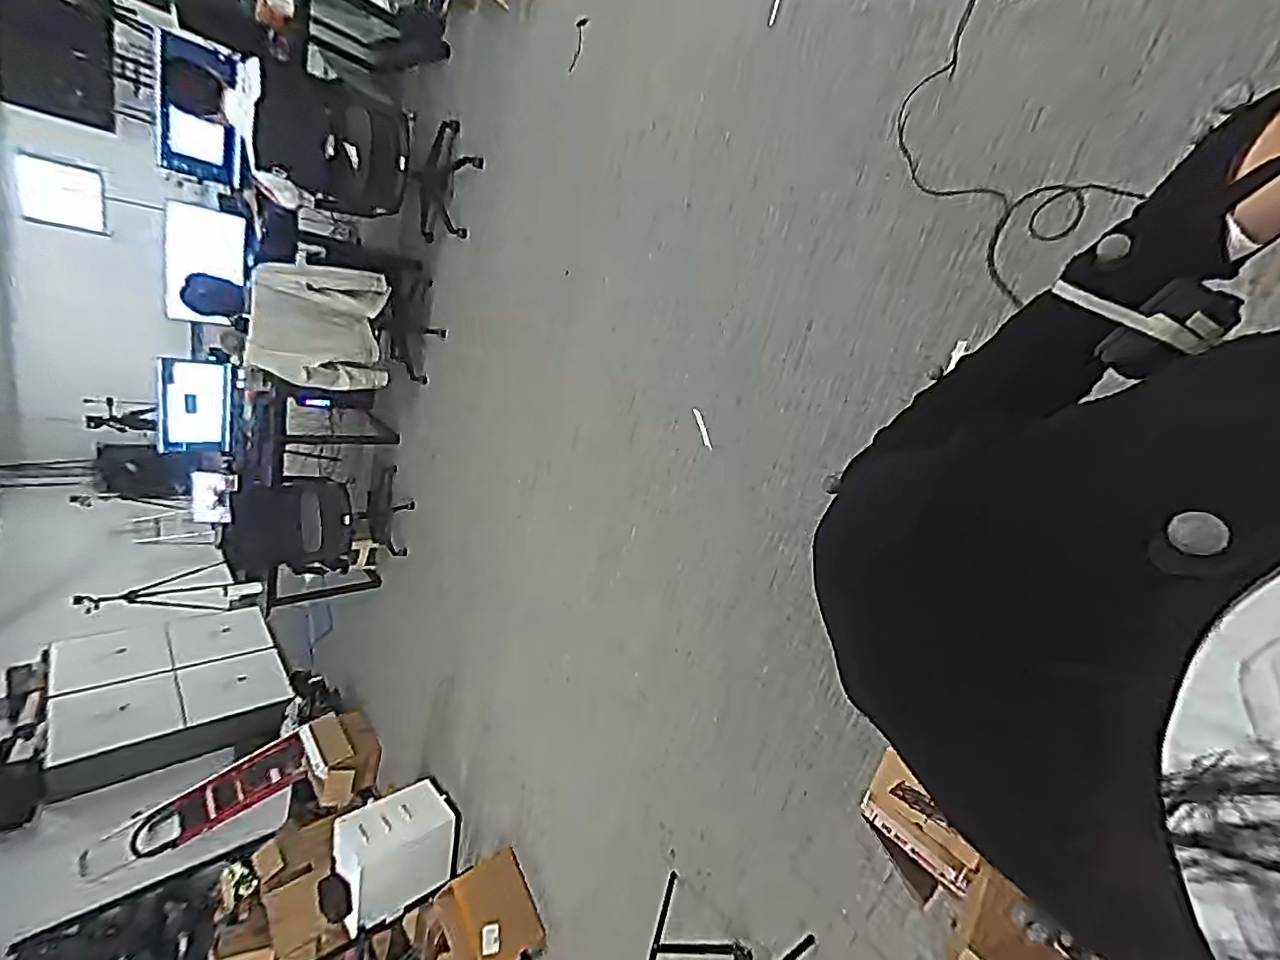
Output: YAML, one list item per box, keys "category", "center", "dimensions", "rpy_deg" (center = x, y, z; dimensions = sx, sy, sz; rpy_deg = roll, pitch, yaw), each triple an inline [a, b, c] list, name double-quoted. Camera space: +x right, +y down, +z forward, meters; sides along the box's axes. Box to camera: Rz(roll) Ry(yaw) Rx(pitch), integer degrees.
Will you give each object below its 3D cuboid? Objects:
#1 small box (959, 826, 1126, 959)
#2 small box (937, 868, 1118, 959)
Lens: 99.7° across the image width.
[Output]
- category: "small box"
  center: [0.595, 0.680, 0.814]
  dimensions: [0.168, 0.176, 0.179]
  rpy_deg: [29, 110, 38]
- category: "small box"
  center: [0.486, 0.663, 0.692]
  dimensions: [0.168, 0.176, 0.179]
  rpy_deg: [28, 109, 37]
